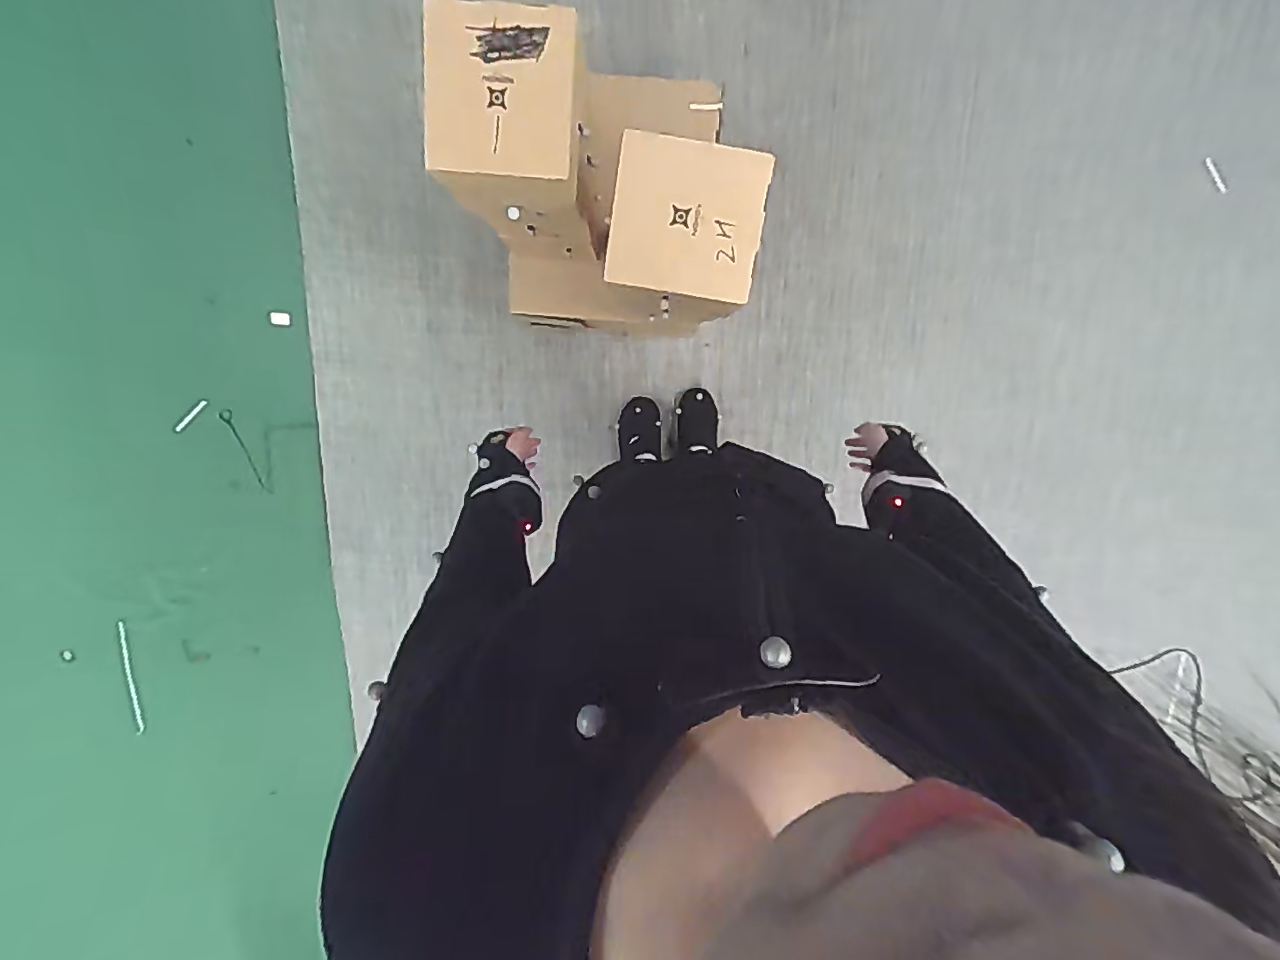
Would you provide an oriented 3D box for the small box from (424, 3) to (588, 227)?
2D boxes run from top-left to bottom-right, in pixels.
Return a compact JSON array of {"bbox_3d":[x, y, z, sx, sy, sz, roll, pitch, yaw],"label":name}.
[{"bbox_3d":[-0.158,-0.440,0.681,0.168,0.176,0.179,4,101,-1],"label":"small box"}]

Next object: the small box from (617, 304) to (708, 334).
[{"bbox_3d":[0.048,-0.383,1.021,0.168,0.176,0.179,6,99,-1],"label":"small box"}]

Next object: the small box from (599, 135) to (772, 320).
[{"bbox_3d":[0.050,-0.308,0.698,0.179,0.176,0.168,9,101,-2],"label":"small box"}]

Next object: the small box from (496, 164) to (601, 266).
[{"bbox_3d":[-0.162,-0.507,1.002,0.168,0.176,0.179,4,99,-1],"label":"small box"}]

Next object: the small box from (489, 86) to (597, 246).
[{"bbox_3d":[-0.158,-0.482,0.840,0.168,0.176,0.179,4,101,-1],"label":"small box"}]
